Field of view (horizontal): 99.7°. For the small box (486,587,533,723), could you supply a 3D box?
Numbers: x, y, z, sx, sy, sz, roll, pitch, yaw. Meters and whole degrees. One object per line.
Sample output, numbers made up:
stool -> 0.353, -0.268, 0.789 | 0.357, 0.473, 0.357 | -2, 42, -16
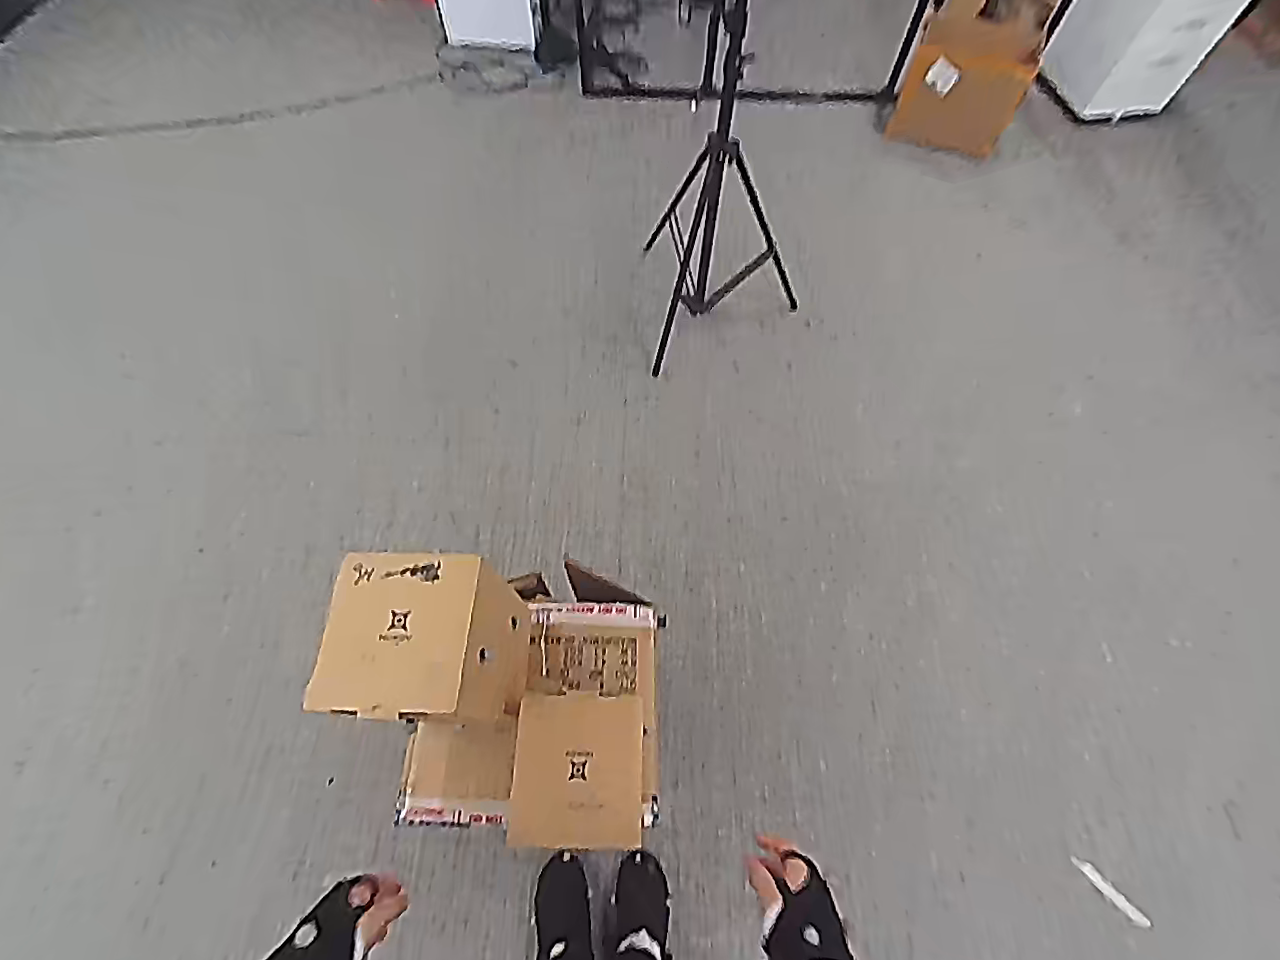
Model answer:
small box -> -0.265, 0.271, 0.826 | 0.168, 0.176, 0.179 | -1, 64, 1

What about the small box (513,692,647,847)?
small box -> -0.073, 0.401, 0.764 | 0.168, 0.176, 0.179 | 0, 65, 1

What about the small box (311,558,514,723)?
small box -> -0.263, 0.205, 0.674 | 0.168, 0.176, 0.179 | 0, 64, 2
